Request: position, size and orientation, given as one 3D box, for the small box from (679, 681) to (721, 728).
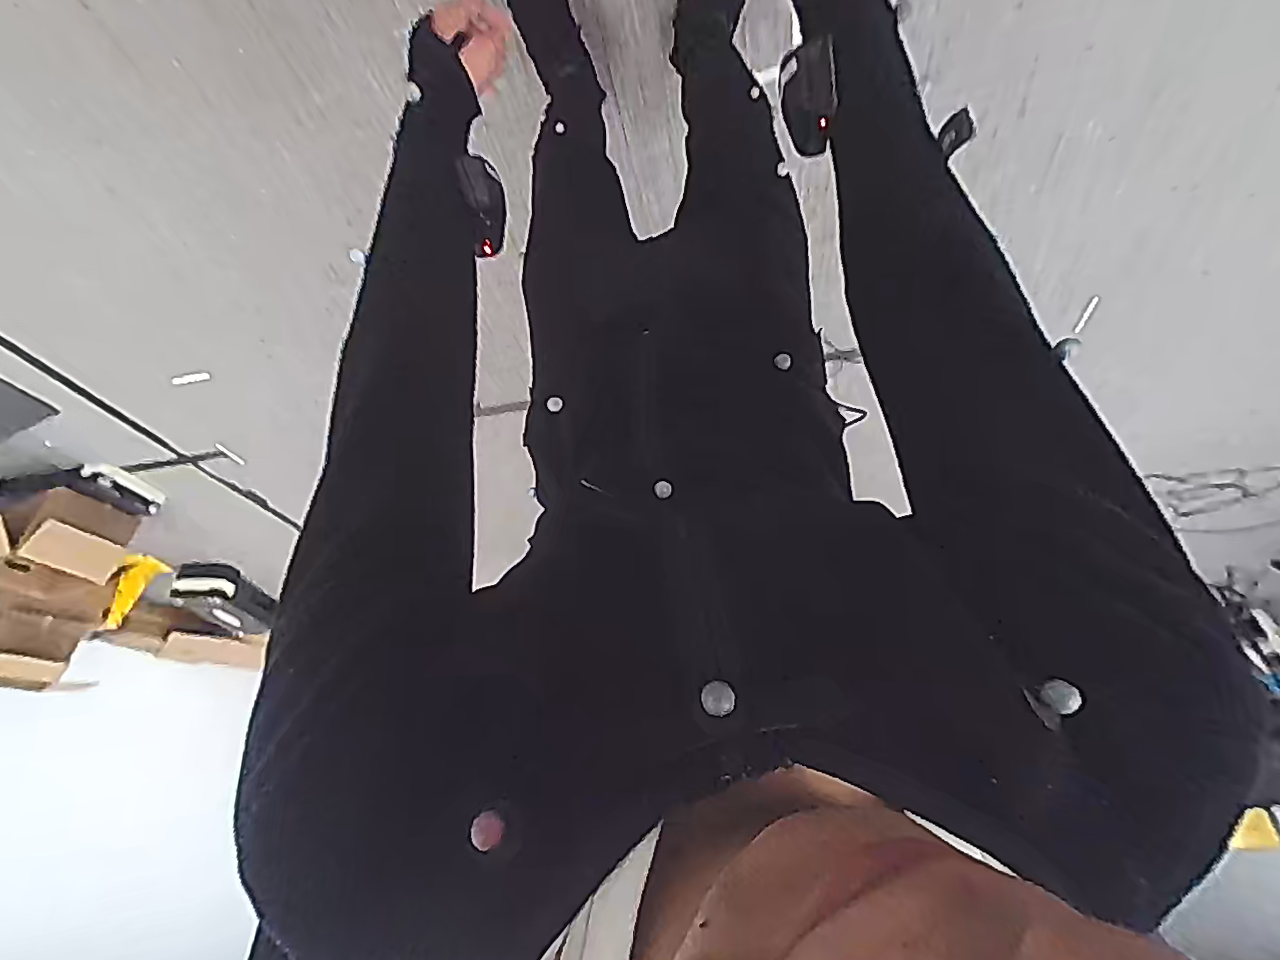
[{"bbox_3d":[0.280,1.057,2.539,0.179,0.176,0.168,-8,144,9],"label":"small box"}]
